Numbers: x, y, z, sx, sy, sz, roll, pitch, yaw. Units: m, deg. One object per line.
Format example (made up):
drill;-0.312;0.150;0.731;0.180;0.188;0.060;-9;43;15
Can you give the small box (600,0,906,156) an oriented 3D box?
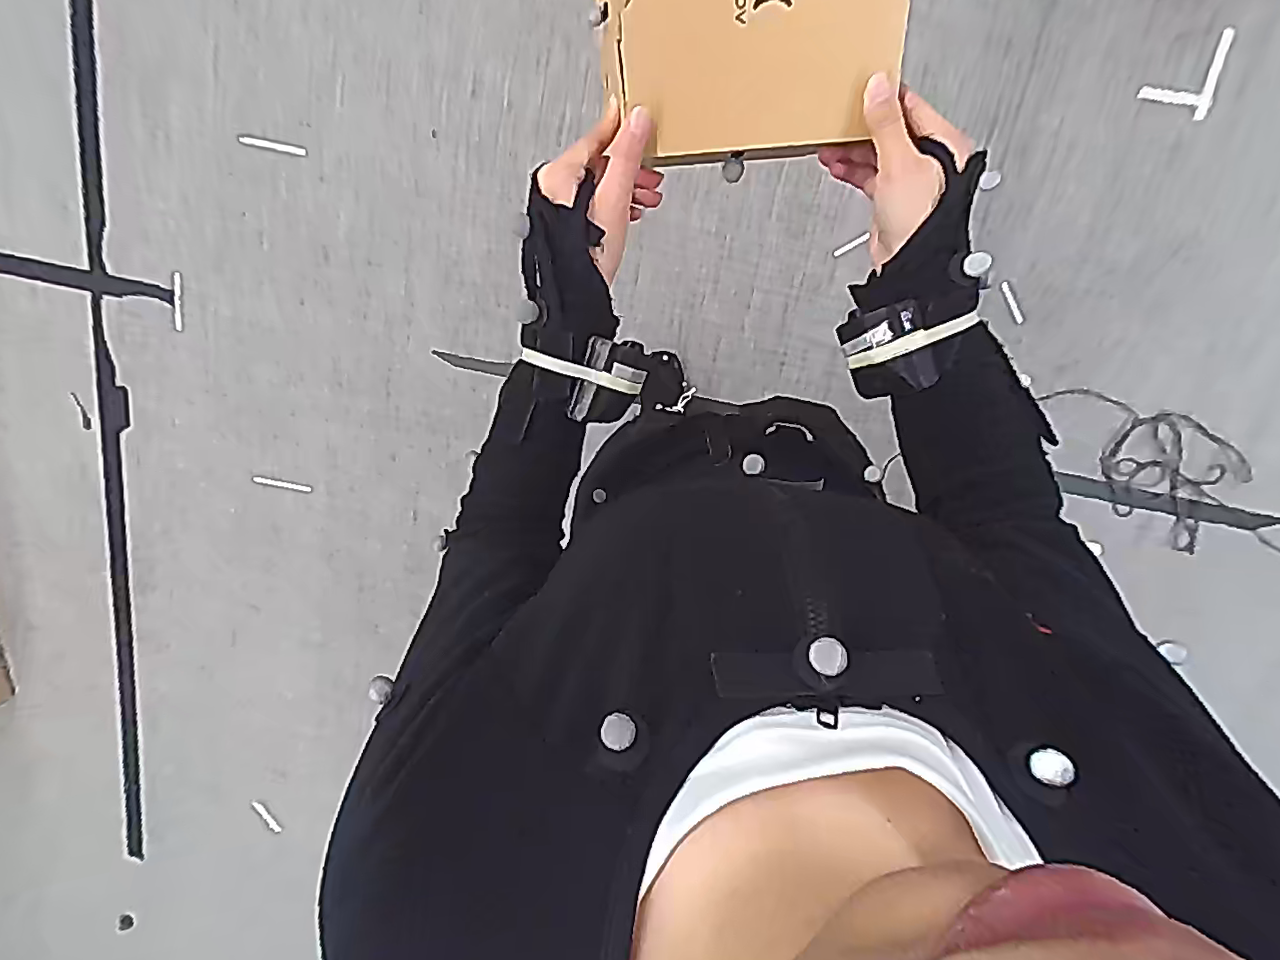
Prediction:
small box;0.064;-0.329;0.376;0.179;0.176;0.168;-6;118;-2
